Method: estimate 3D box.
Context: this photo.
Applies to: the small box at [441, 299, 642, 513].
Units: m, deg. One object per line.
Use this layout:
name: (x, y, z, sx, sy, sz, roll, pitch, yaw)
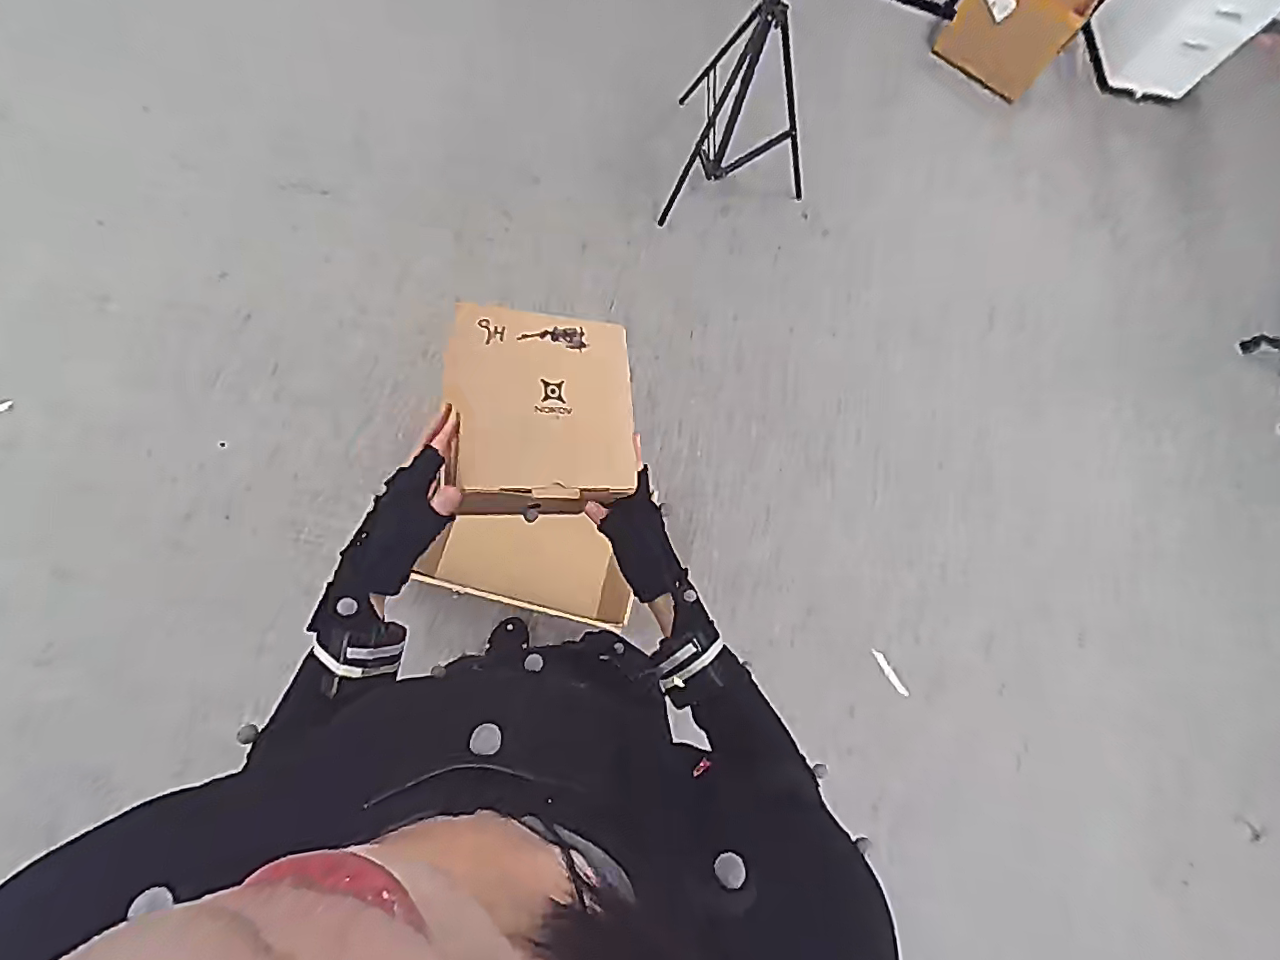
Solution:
small box: (-0.111, -0.059, 0.566, 0.168, 0.176, 0.179, 1, 78, -27)
